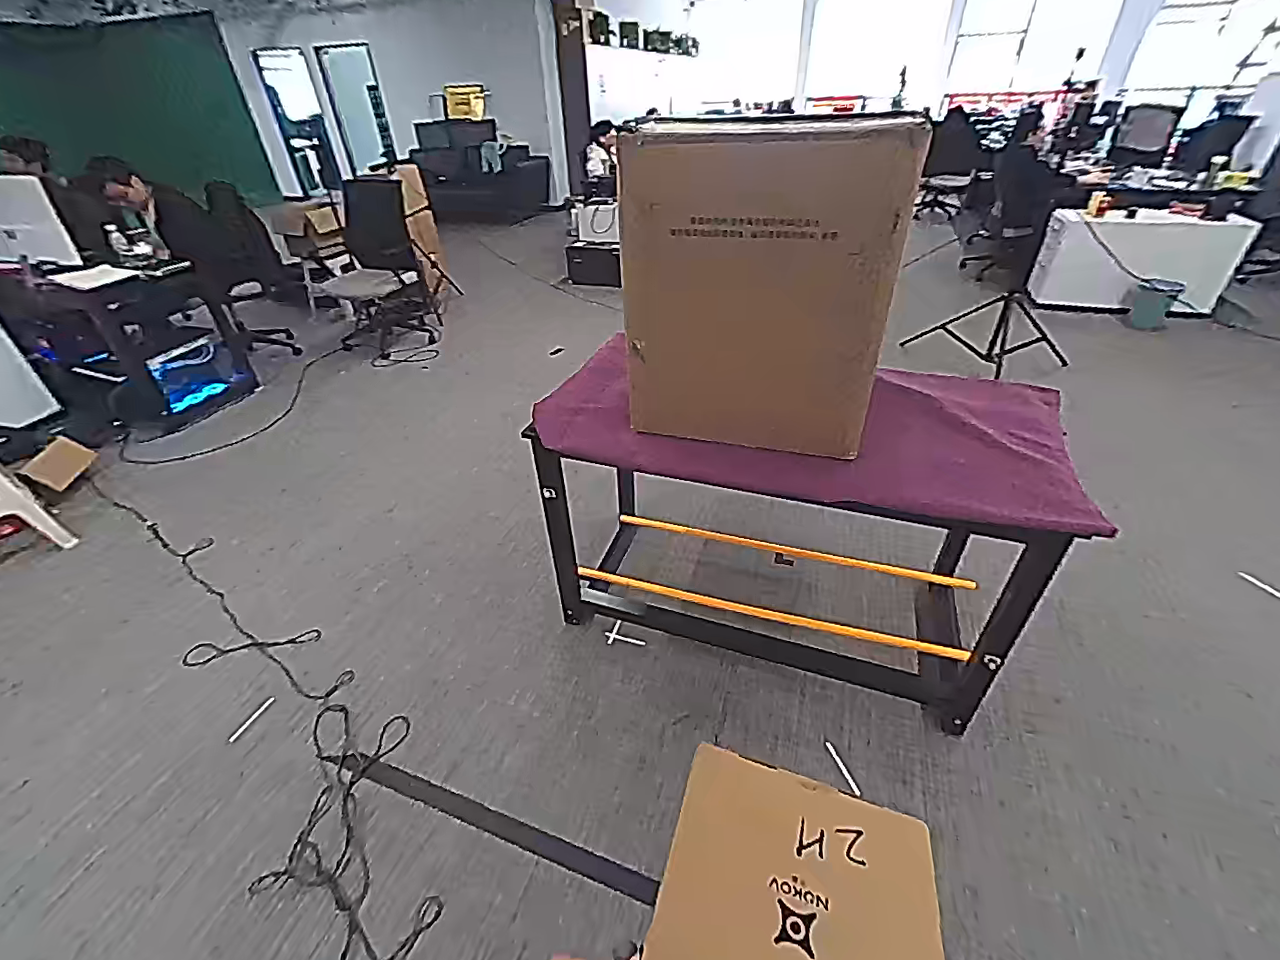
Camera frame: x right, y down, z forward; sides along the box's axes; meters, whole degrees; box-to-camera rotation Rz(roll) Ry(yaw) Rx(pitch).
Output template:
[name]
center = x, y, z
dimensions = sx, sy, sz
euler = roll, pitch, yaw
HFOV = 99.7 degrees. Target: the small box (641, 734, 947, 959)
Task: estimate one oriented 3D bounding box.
[small box]
center = 0.091, 0.322, 0.368
dimensions = 0.168, 0.176, 0.179
euler = 14, 33, 13
